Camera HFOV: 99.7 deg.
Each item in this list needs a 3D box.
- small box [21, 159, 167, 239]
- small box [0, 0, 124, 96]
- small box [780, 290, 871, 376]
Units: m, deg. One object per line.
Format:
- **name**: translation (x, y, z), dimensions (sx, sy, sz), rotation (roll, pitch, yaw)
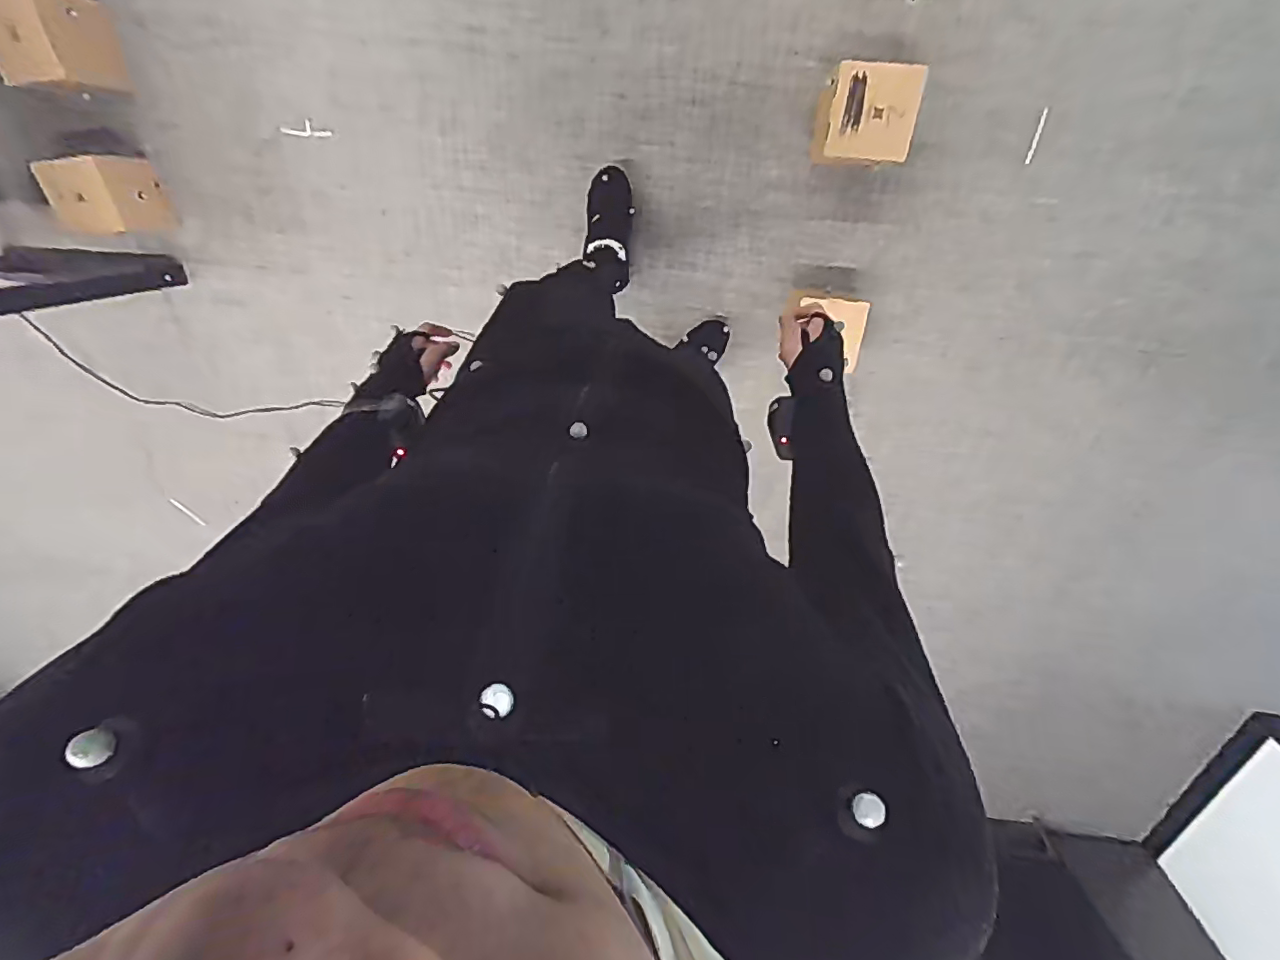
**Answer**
- **small box**: translation (-1.366, -0.714, 1.374), dimensions (0.179, 0.176, 0.168), rotation (-2, 117, 7)
- **small box**: translation (-1.354, -0.997, 1.229), dimensions (0.168, 0.176, 0.179), rotation (0, 118, 6)
- **small box**: translation (0.461, -0.379, 1.374), dimensions (0.168, 0.176, 0.179), rotation (6, 117, 2)
